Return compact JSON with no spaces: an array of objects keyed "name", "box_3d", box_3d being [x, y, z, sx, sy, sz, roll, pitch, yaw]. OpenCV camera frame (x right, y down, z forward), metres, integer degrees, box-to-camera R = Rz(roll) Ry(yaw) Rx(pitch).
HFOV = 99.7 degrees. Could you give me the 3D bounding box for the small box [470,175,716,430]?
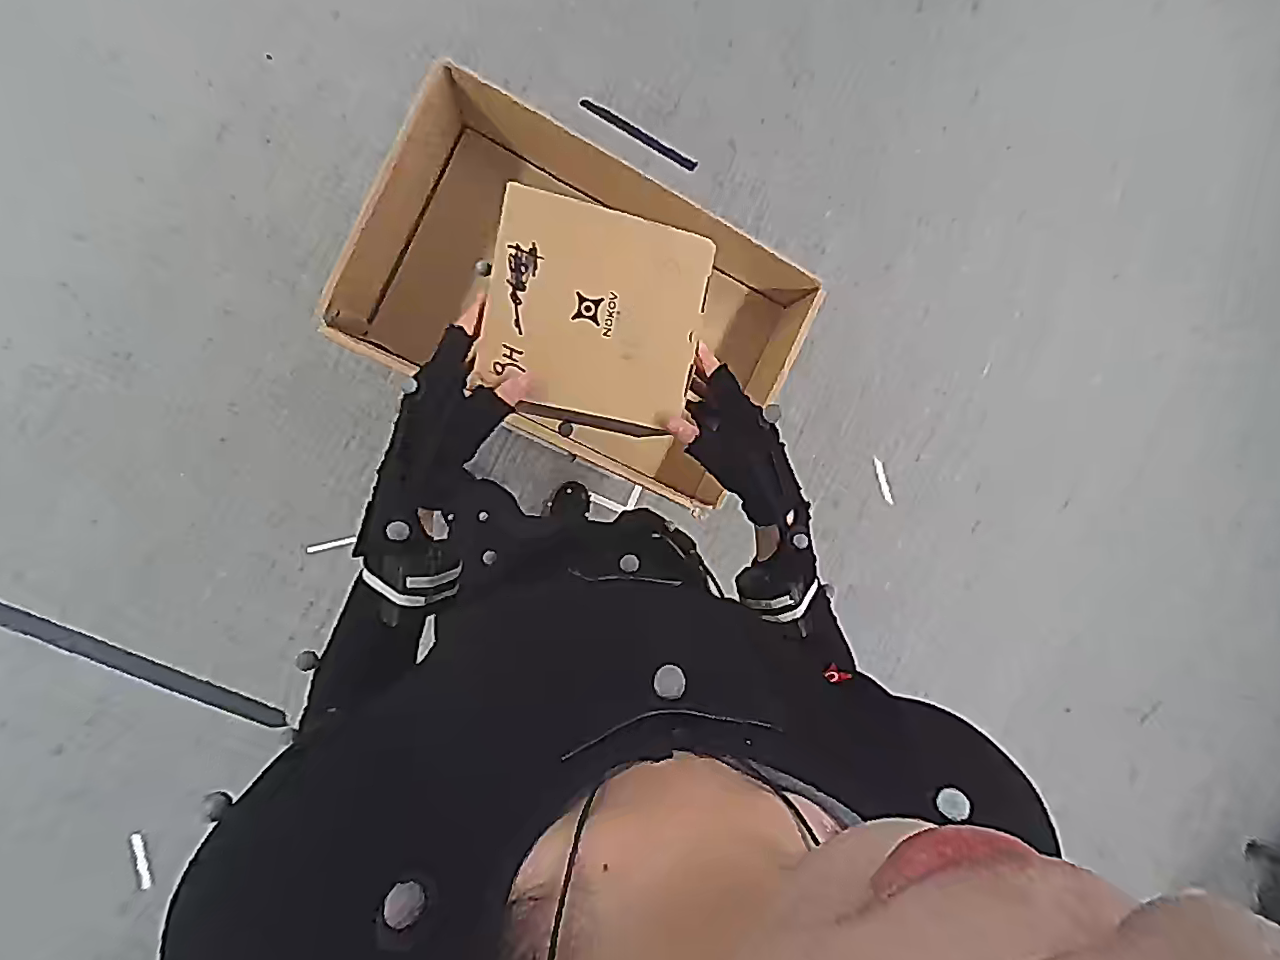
[{"name":"small box","box_3d":[-0.051,-0.144,0.508,0.179,0.176,0.168,10,92,-13]}]
